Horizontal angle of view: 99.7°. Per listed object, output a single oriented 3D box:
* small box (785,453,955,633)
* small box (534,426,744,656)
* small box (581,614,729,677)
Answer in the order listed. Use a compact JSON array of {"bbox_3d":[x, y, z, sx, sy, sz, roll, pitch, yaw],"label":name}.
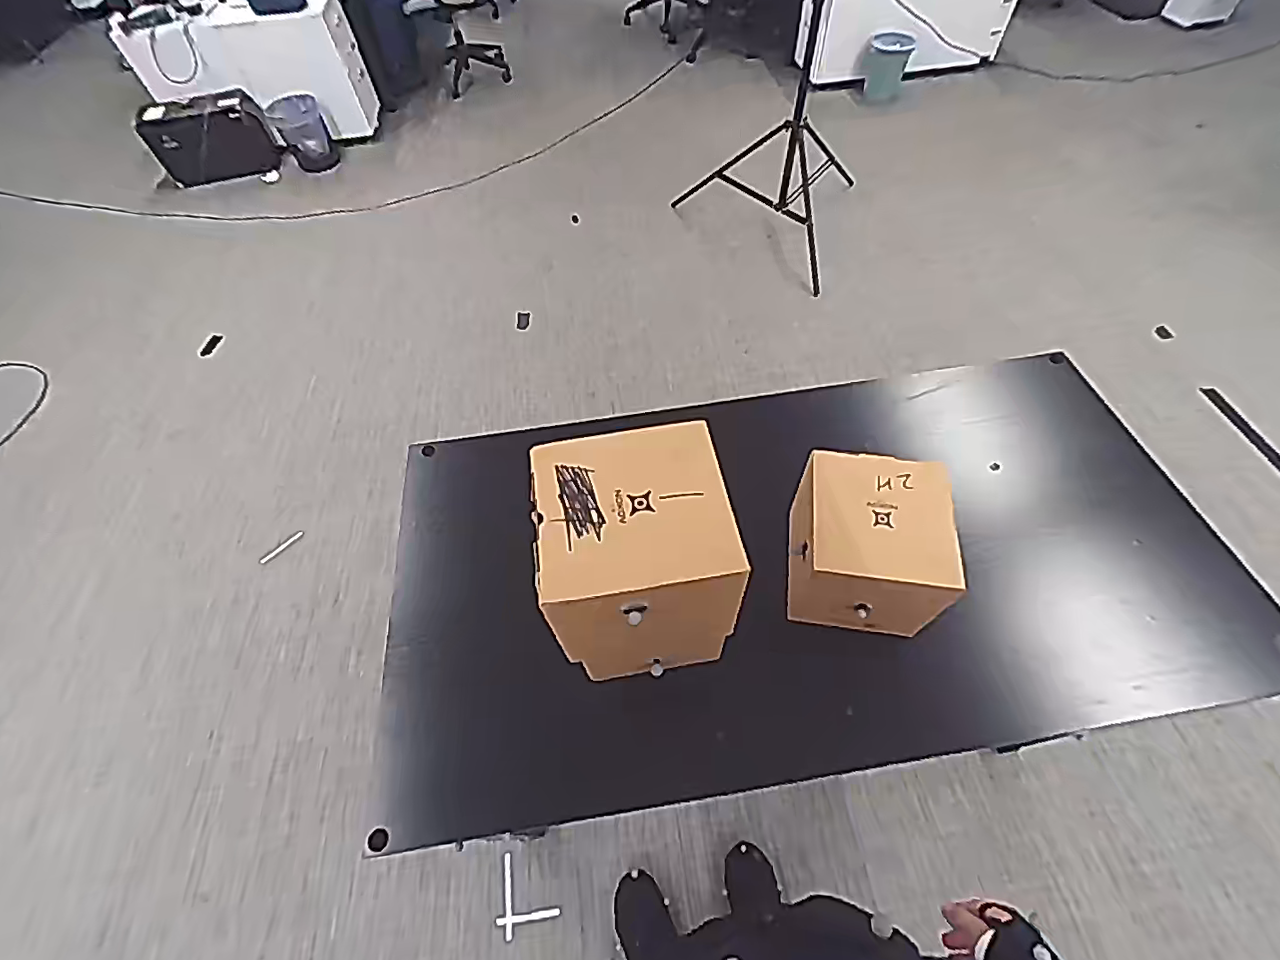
[{"bbox_3d":[0.294,0.090,0.727,0.168,0.176,0.179,7,56,7],"label":"small box"},{"bbox_3d":[-0.003,0.070,0.560,0.179,0.176,0.168,-9,56,-3],"label":"small box"},{"bbox_3d":[0.005,0.145,0.708,0.179,0.176,0.168,-9,56,-3],"label":"small box"}]
